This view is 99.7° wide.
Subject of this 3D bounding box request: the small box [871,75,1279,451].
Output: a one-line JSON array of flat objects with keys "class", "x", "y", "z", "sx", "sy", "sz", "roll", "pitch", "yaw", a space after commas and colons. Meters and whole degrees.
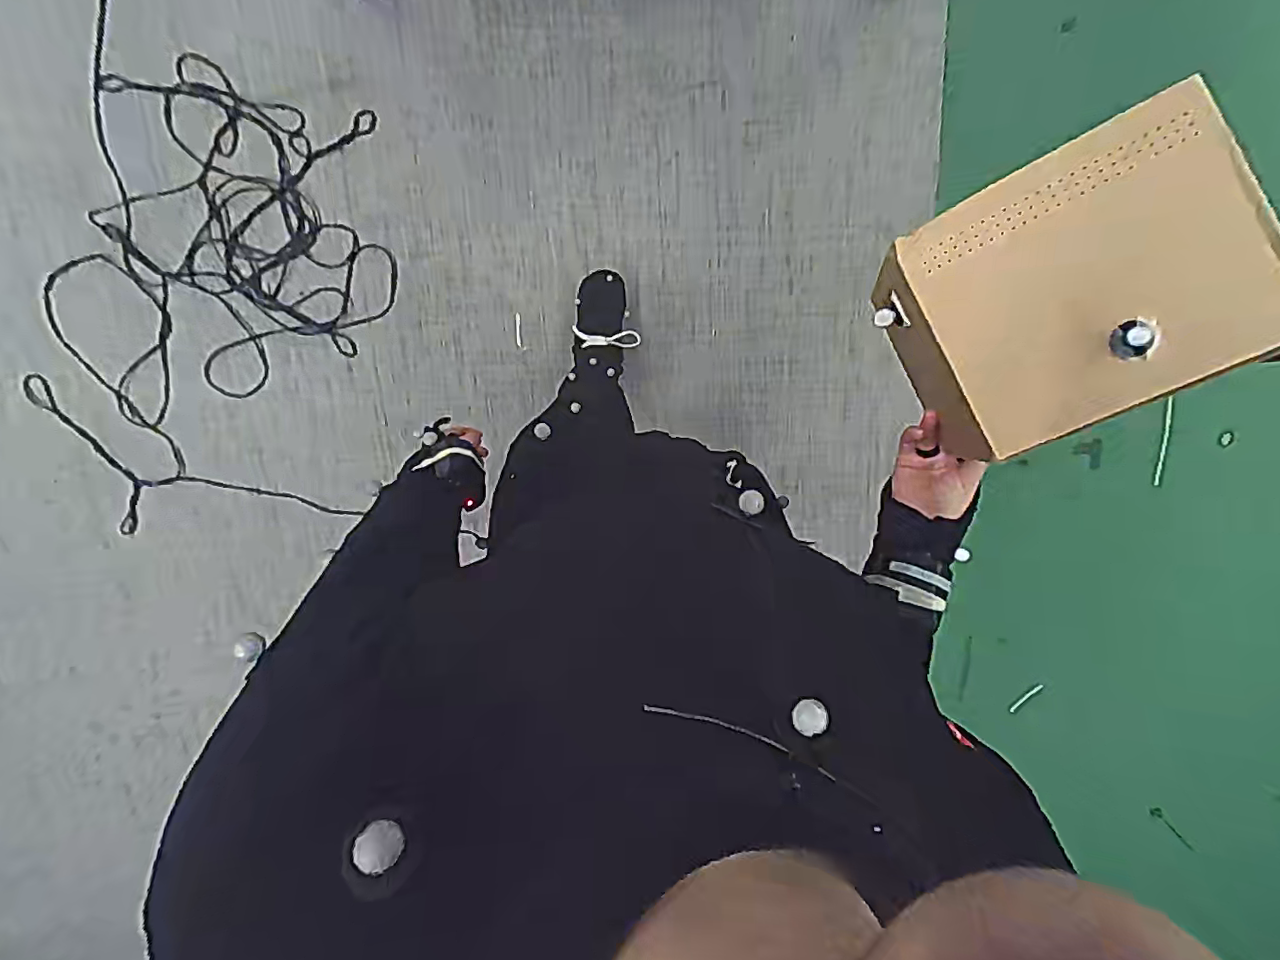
[{"class": "small box", "x": 0.295, "y": -0.133, "z": 0.395, "sx": 0.179, "sy": 0.168, "sz": 0.176, "roll": -25, "pitch": 84, "yaw": 20}]
